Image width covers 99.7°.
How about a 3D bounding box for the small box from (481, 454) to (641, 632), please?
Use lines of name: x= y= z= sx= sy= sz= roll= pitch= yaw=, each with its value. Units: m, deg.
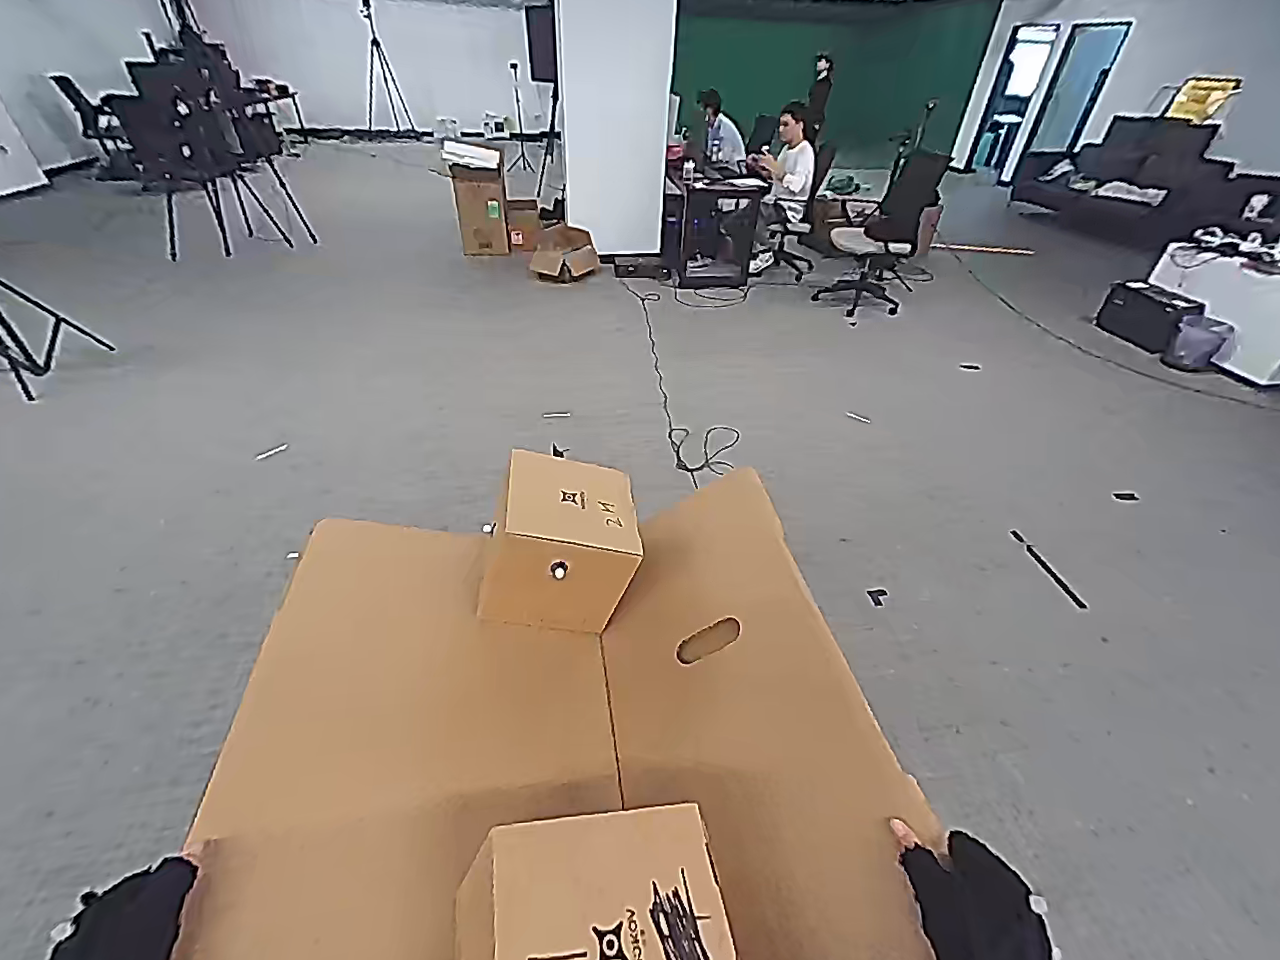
small box: x=-0.116 y=0.093 z=0.757 sx=0.179 sy=0.176 sz=0.168 roll=14 pitch=36 yaw=-19
